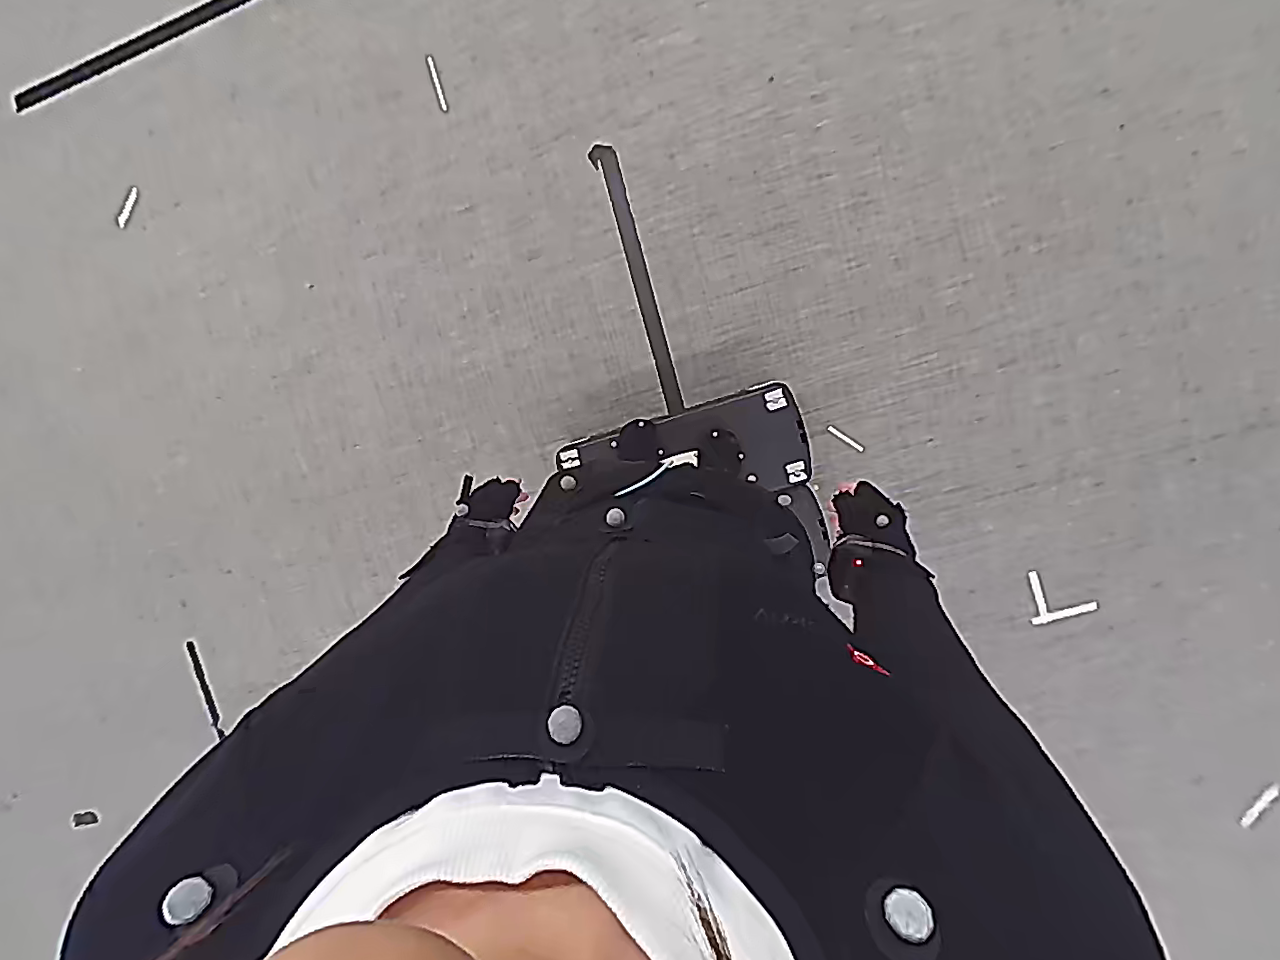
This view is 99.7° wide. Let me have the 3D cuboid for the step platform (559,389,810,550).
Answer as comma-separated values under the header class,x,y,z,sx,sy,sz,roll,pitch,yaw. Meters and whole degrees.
class,x,y,z,sx,sy,sz,roll,pitch,yaw
step platform,0.119,-0.026,1.525,0.684,0.204,0.286,-17,96,8
